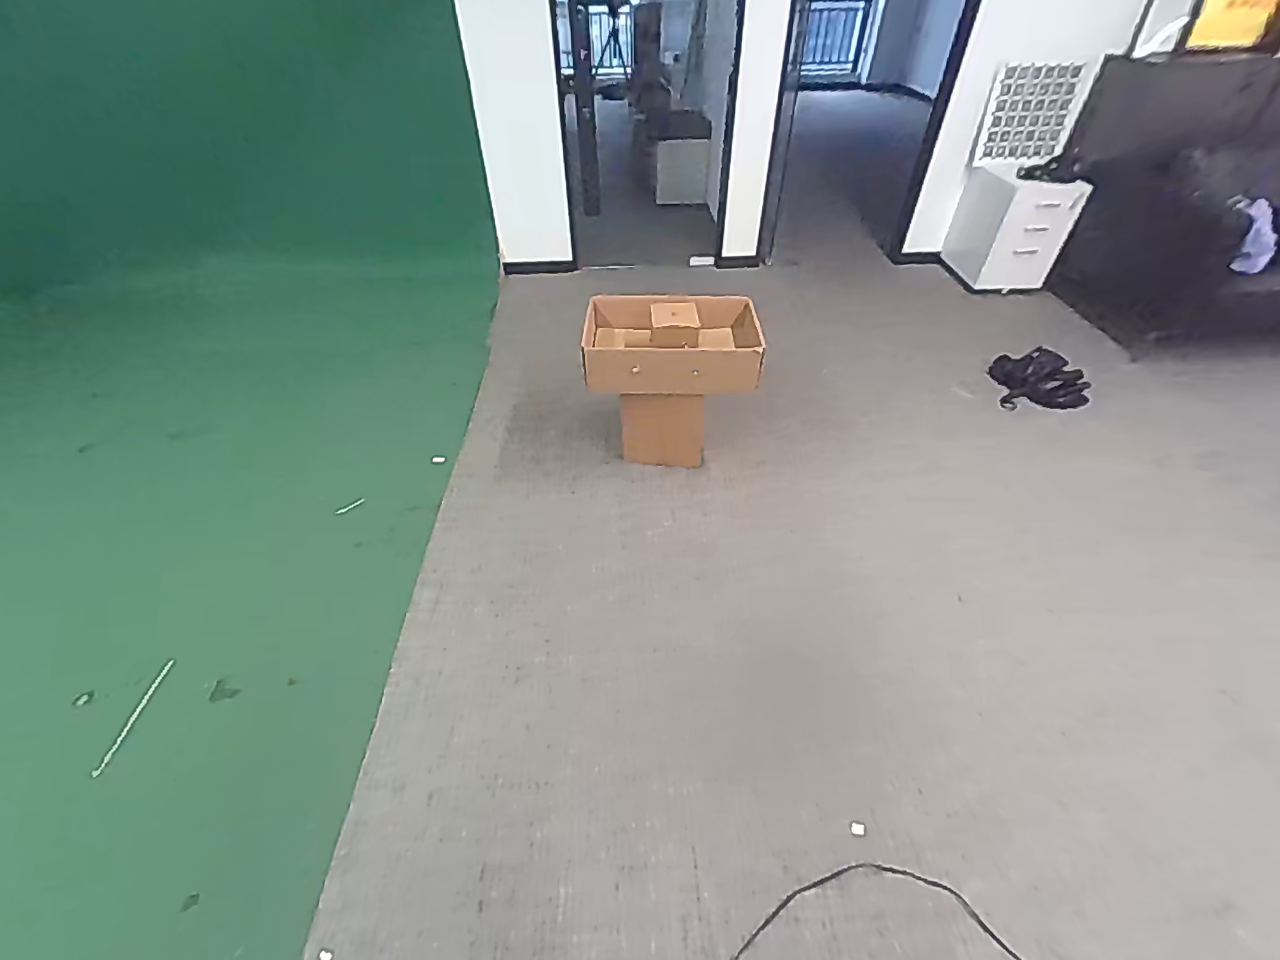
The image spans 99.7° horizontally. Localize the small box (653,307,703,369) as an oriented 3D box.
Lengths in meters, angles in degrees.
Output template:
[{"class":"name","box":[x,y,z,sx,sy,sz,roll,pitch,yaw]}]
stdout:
[{"class":"small box","box":[0.134,-0.515,1.968,0.168,0.176,0.179,-1,41,-2]}]
